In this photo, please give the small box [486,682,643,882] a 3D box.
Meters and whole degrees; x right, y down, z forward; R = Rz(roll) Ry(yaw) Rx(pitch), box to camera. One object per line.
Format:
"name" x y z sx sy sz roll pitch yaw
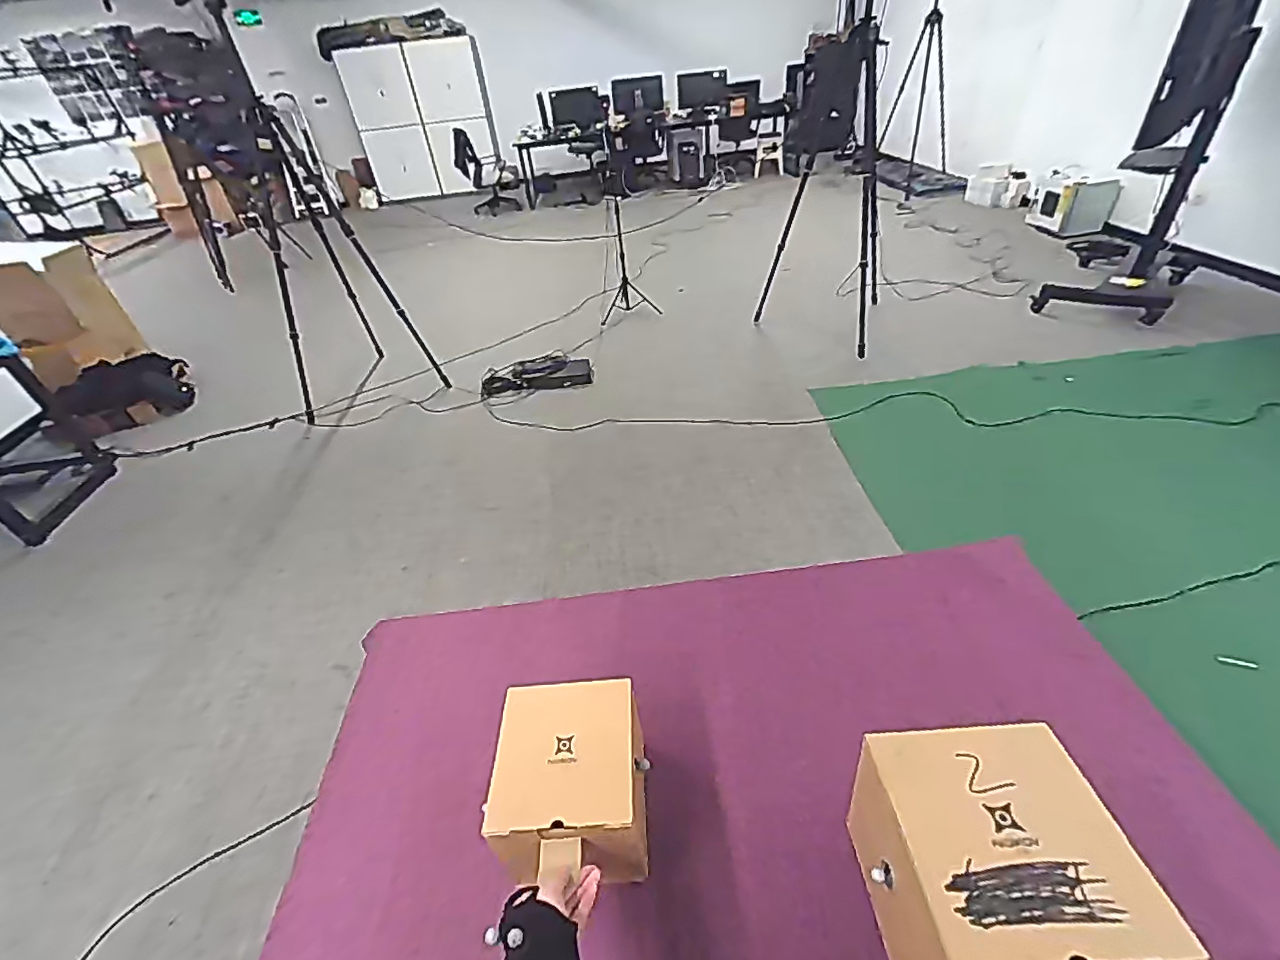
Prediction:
"small box" -0.085 0.392 0.707 0.168 0.176 0.179 -5 38 2
